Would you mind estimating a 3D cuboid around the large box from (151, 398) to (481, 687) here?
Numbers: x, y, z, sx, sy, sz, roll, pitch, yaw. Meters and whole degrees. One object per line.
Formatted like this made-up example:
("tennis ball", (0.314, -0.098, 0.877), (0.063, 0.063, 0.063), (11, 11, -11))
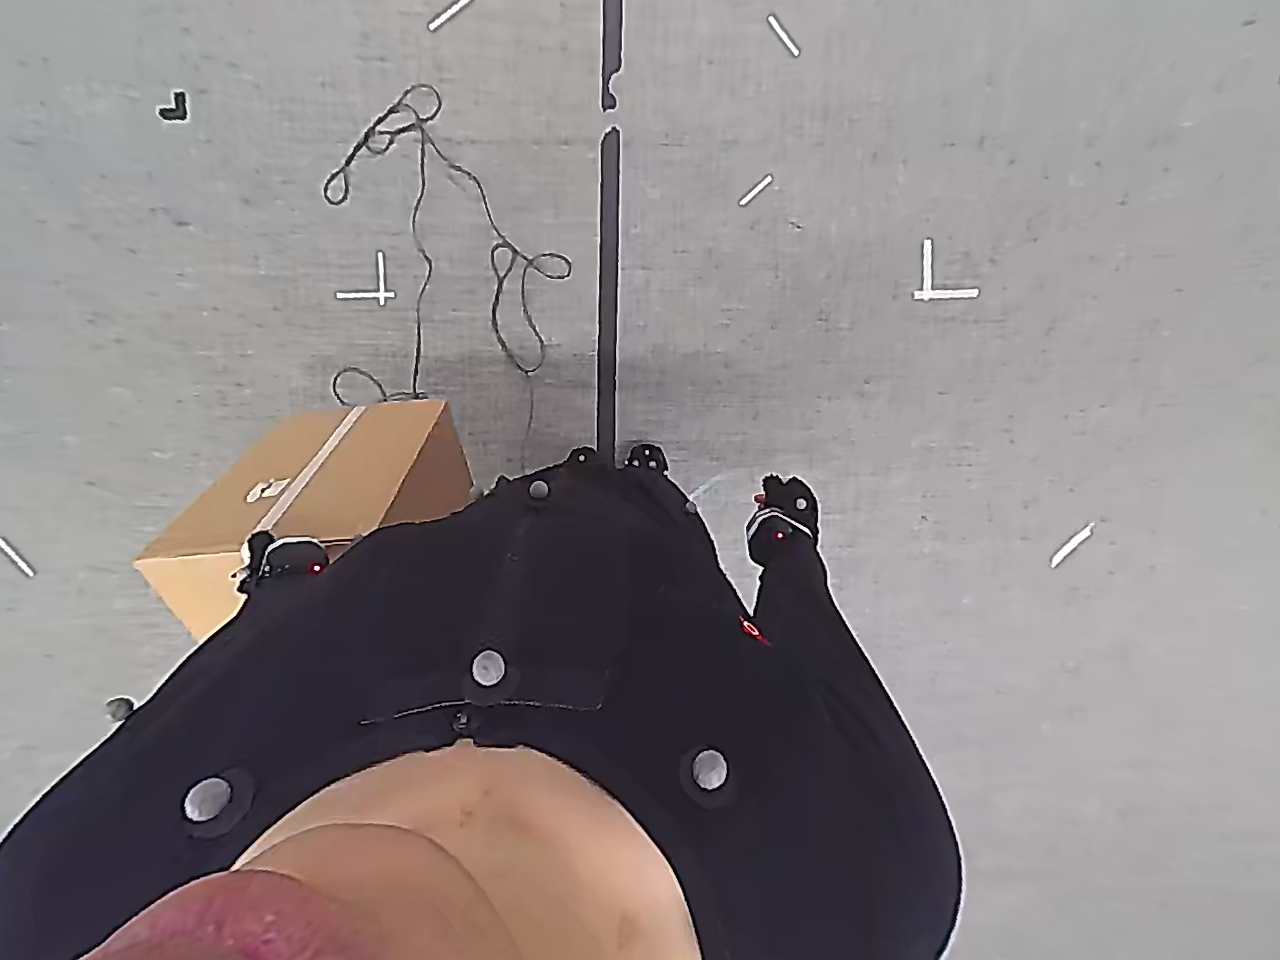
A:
("large box", (-0.496, 0.093, 0.955), (0.320, 0.408, 0.320), (-6, 127, 1))
